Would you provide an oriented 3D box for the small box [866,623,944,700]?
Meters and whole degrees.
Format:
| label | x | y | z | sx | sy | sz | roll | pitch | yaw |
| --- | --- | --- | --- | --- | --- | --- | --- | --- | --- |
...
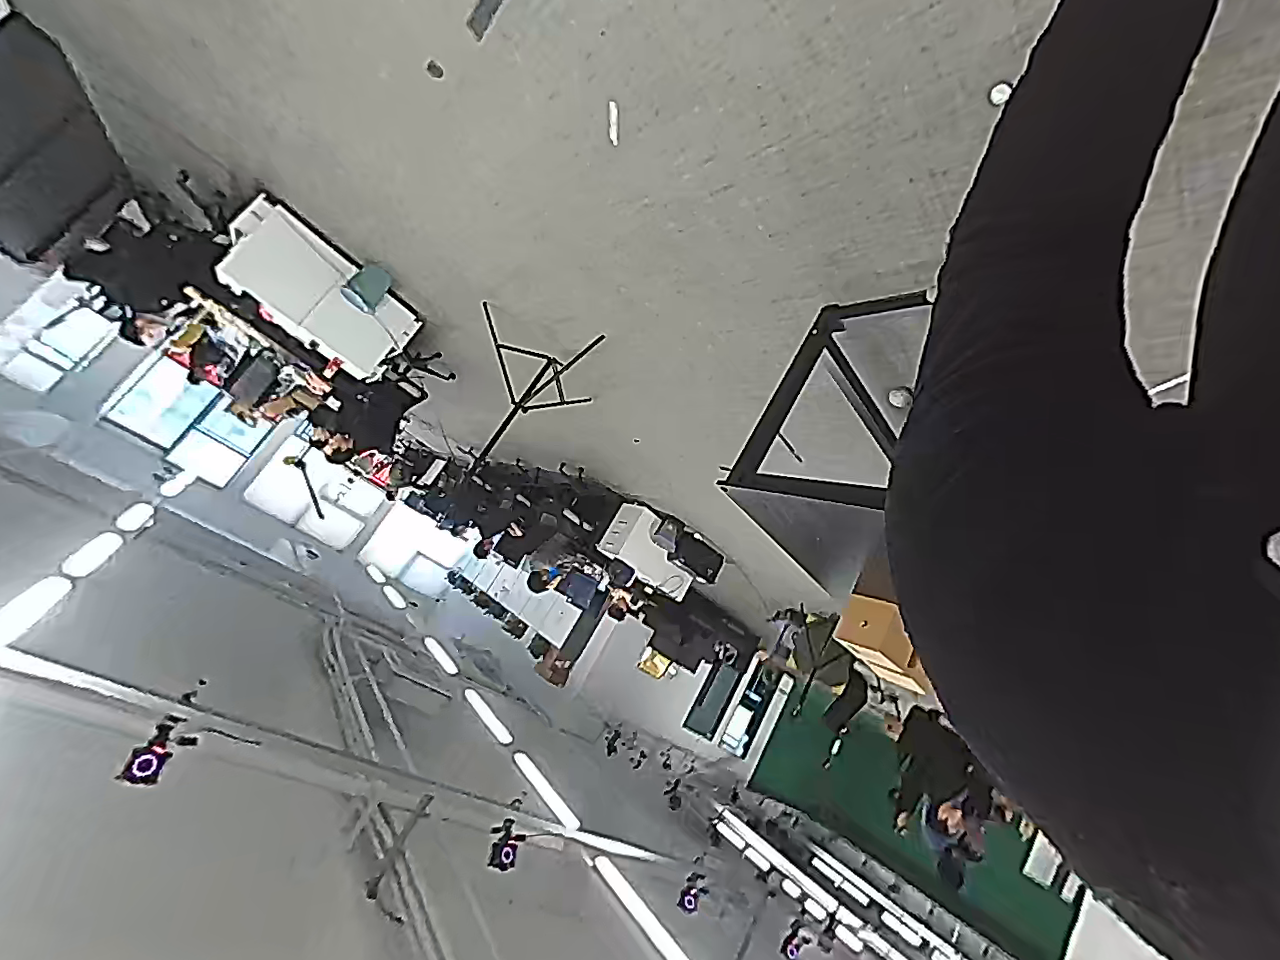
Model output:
| label | x | y | z | sx | sy | sz | roll | pitch | yaw |
| --- | --- | --- | --- | --- | --- | --- | --- | --- | --- |
| small box | 0.915 | 0.615 | 1.852 | 0.179 | 0.176 | 0.168 | 12 | 154 | 52 |
